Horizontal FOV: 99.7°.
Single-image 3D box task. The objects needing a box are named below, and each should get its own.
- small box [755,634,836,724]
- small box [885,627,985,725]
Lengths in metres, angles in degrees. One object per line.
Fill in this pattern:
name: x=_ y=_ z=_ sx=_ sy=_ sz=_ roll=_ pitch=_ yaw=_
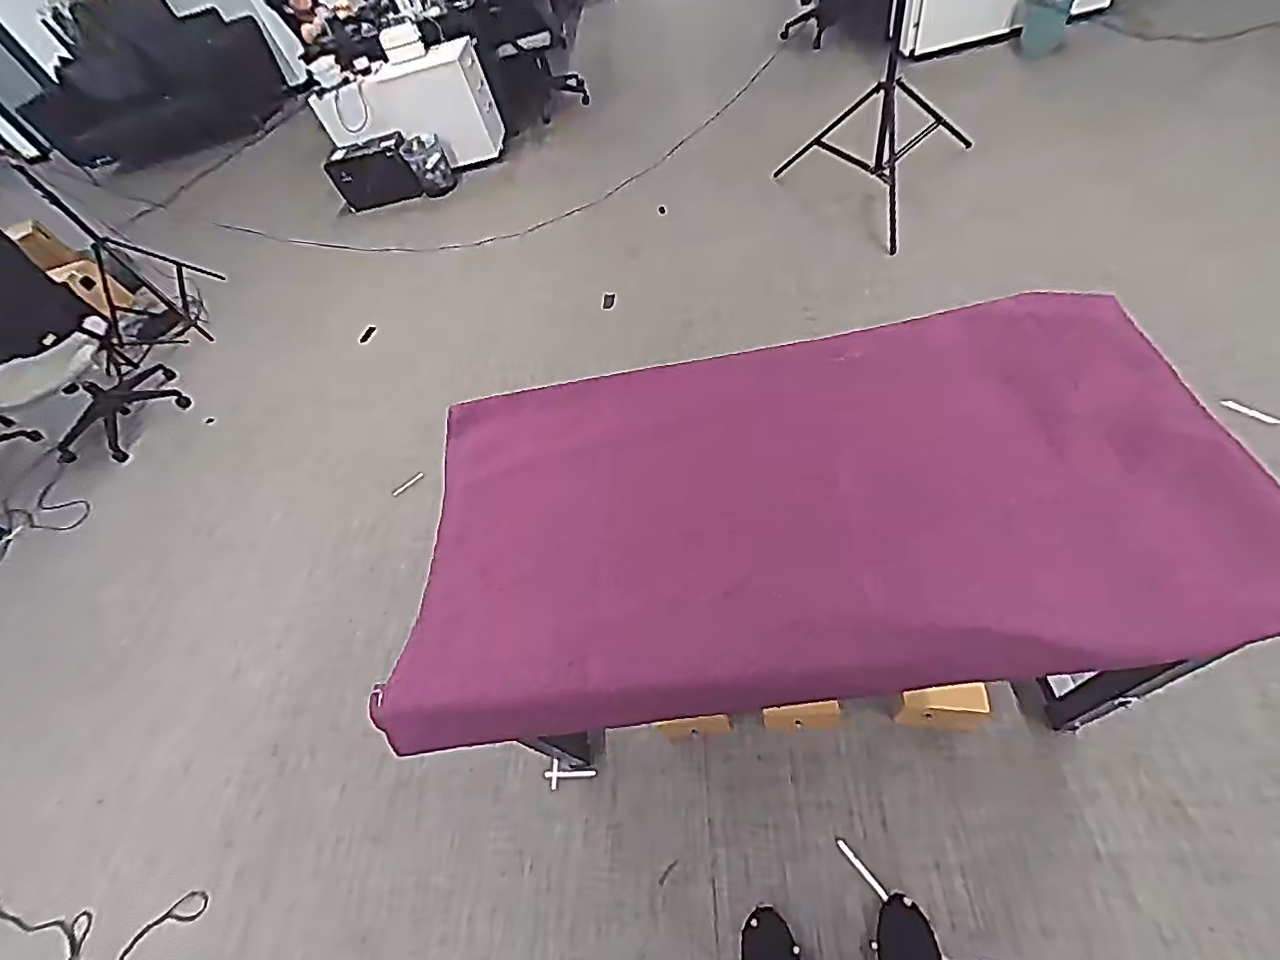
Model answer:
small box: x=0.375 y=0.490 z=1.316 sx=0.168 sy=0.176 sz=0.179 roll=-6 pitch=53 yaw=10
small box: x=0.677 y=0.459 z=1.260 sx=0.168 sy=0.176 sz=0.179 roll=-1 pitch=55 yaw=15
